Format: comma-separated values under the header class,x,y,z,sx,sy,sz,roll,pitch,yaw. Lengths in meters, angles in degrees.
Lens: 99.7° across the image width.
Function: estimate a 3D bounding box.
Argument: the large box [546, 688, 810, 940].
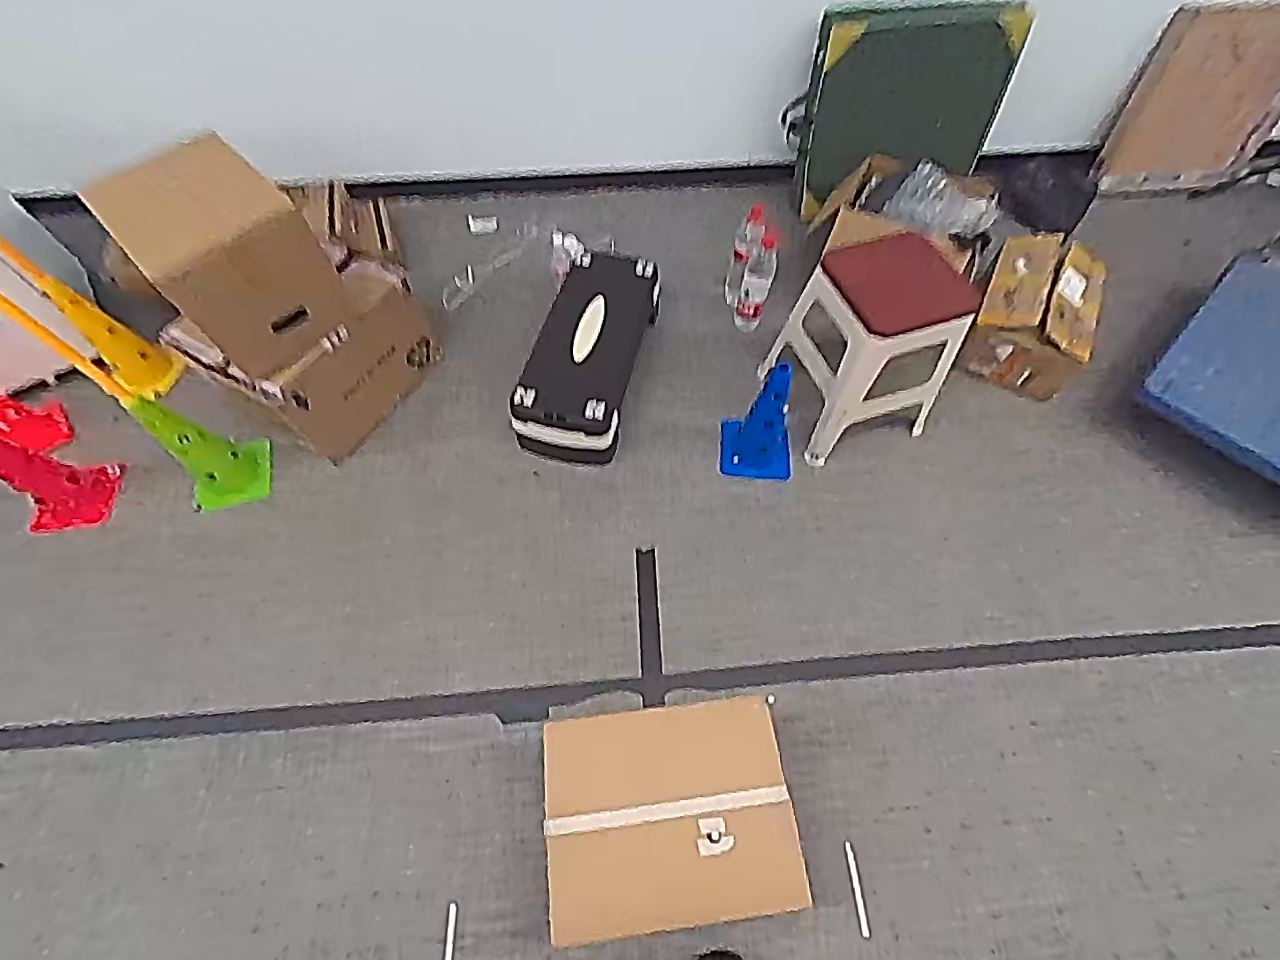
class,x,y,z,sx,sy,sz,roll,pitch,yaw
large box,0.047,0.607,1.024,0.408,0.320,0.320,-6,62,-5
